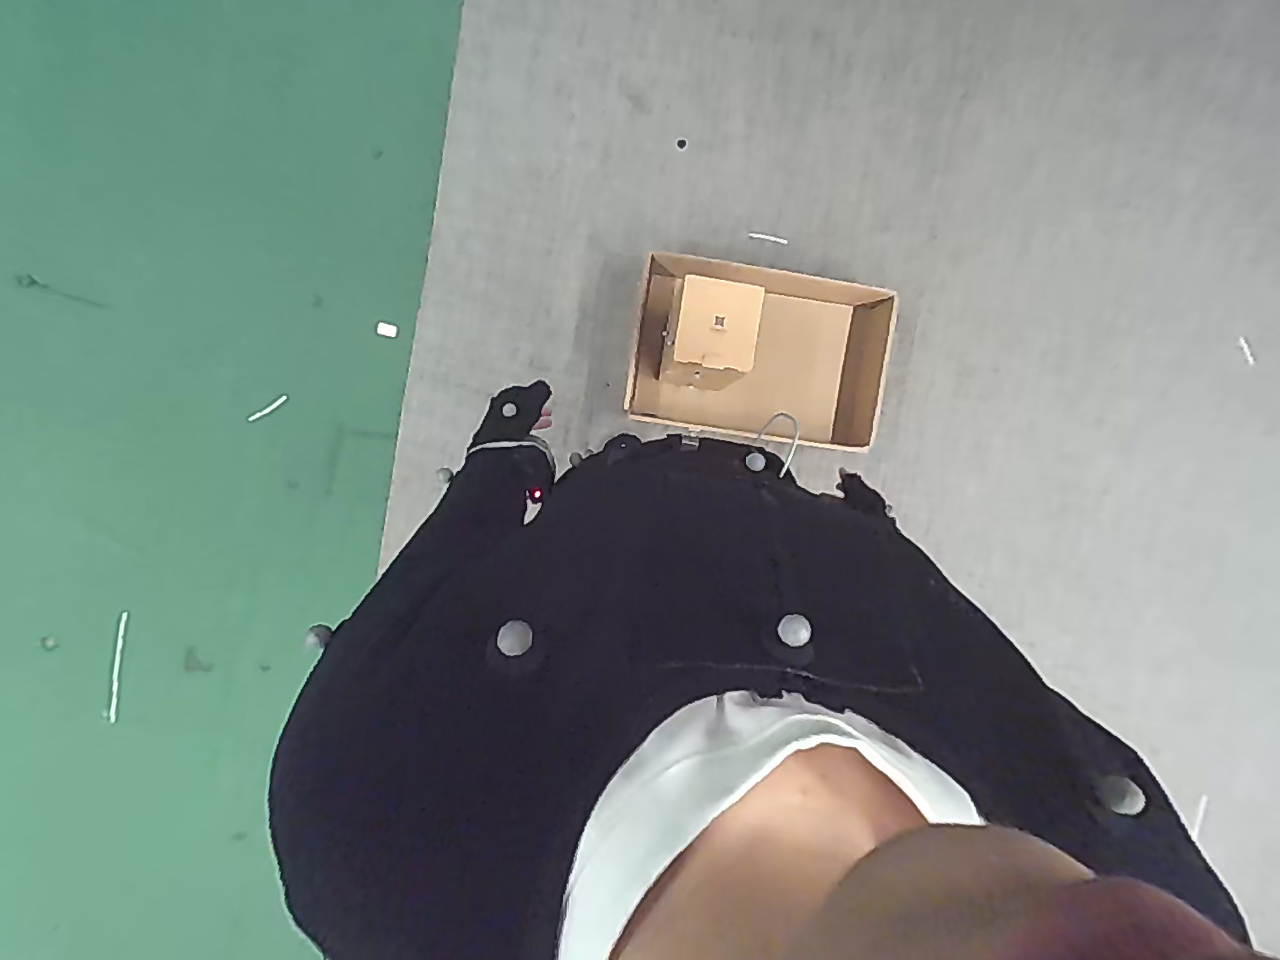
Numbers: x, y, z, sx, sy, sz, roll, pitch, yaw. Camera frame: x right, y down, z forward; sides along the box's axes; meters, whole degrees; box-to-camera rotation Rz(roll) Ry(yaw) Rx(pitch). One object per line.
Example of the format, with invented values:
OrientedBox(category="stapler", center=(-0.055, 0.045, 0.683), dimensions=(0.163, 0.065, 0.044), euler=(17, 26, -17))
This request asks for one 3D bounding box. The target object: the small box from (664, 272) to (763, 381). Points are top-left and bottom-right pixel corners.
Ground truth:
OrientedBox(category="small box", center=(0.149, -0.320, 1.160), dimensions=(0.168, 0.176, 0.179), euler=(8, 93, -4))

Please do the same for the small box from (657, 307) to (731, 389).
OrientedBox(category="small box", center=(0.139, -0.330, 1.323), dimensions=(0.168, 0.176, 0.179), euler=(9, 93, -4))
